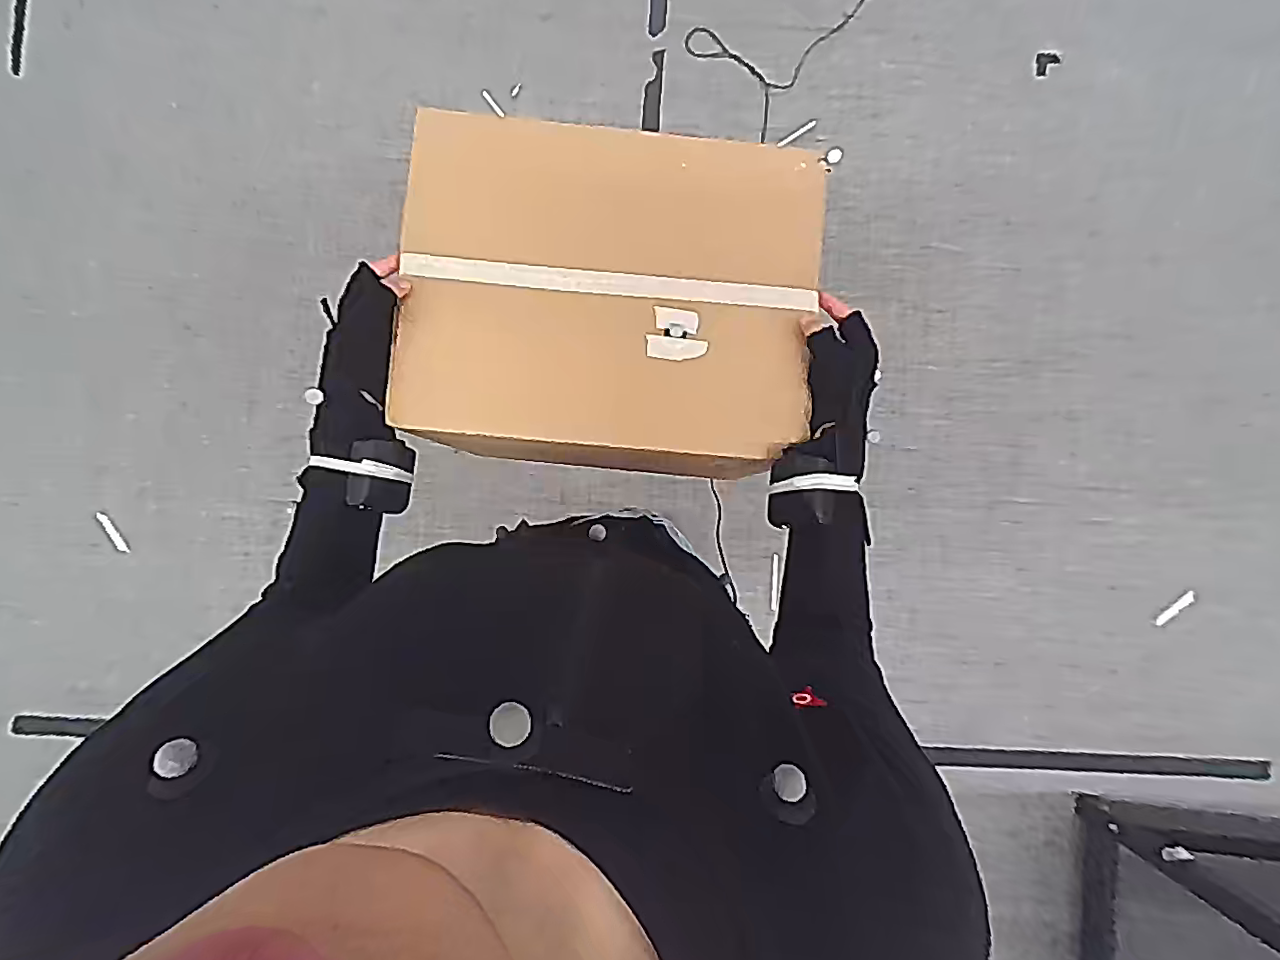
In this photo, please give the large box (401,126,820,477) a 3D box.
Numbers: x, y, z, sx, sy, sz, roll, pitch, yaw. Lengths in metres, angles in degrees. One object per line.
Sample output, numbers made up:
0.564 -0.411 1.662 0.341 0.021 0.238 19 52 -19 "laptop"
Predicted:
-0.032 -0.179 0.685 0.408 0.320 0.320 5 88 -2 "large box"
